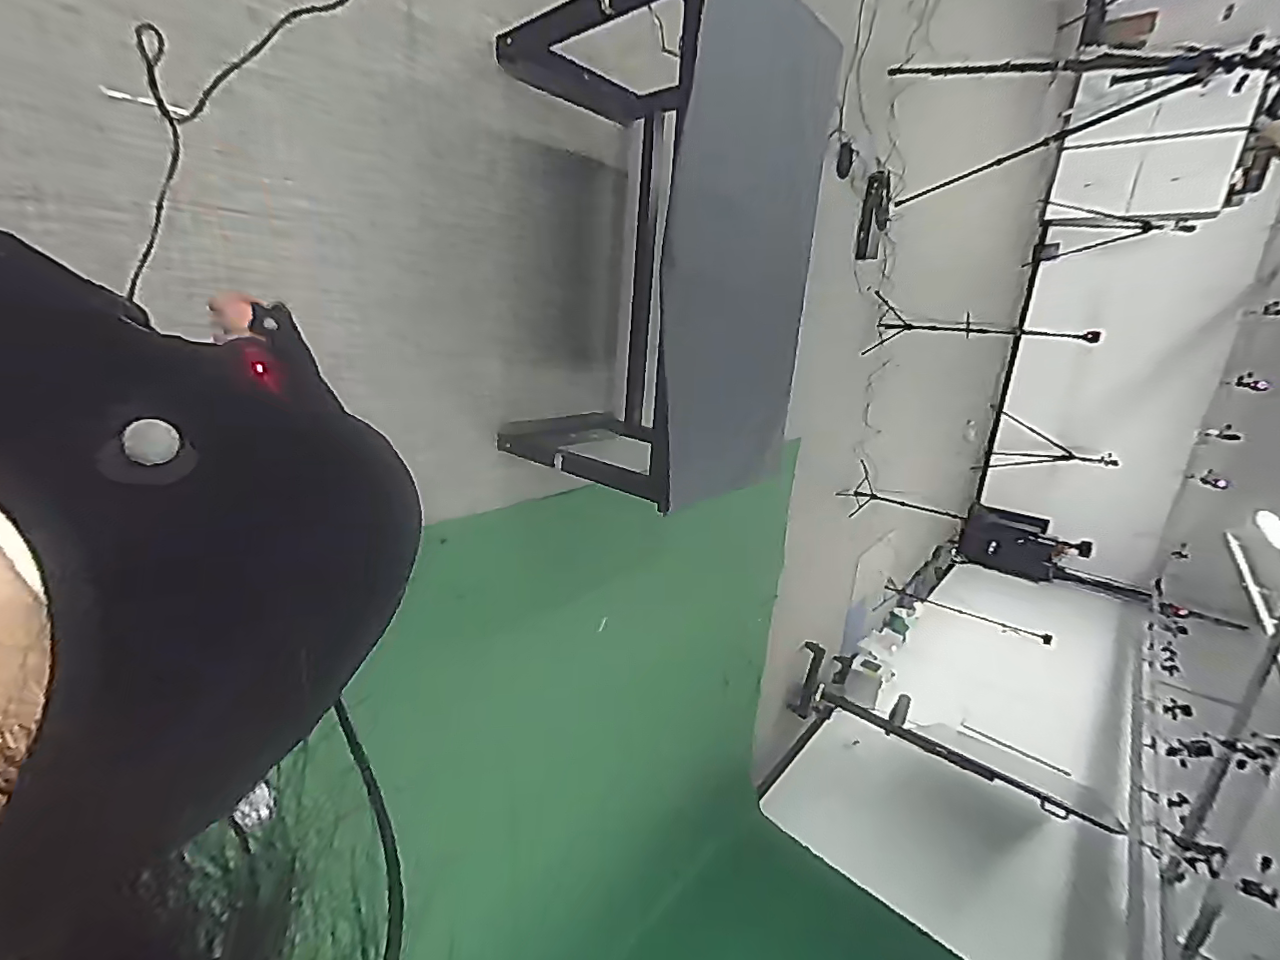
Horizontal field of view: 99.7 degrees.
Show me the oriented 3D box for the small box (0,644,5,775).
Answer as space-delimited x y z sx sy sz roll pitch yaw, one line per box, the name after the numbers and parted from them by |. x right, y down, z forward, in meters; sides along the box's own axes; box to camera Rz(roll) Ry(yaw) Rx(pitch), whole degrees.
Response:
-1.077 0.357 0.799 0.179 0.176 0.168 -2 105 -51 | small box
